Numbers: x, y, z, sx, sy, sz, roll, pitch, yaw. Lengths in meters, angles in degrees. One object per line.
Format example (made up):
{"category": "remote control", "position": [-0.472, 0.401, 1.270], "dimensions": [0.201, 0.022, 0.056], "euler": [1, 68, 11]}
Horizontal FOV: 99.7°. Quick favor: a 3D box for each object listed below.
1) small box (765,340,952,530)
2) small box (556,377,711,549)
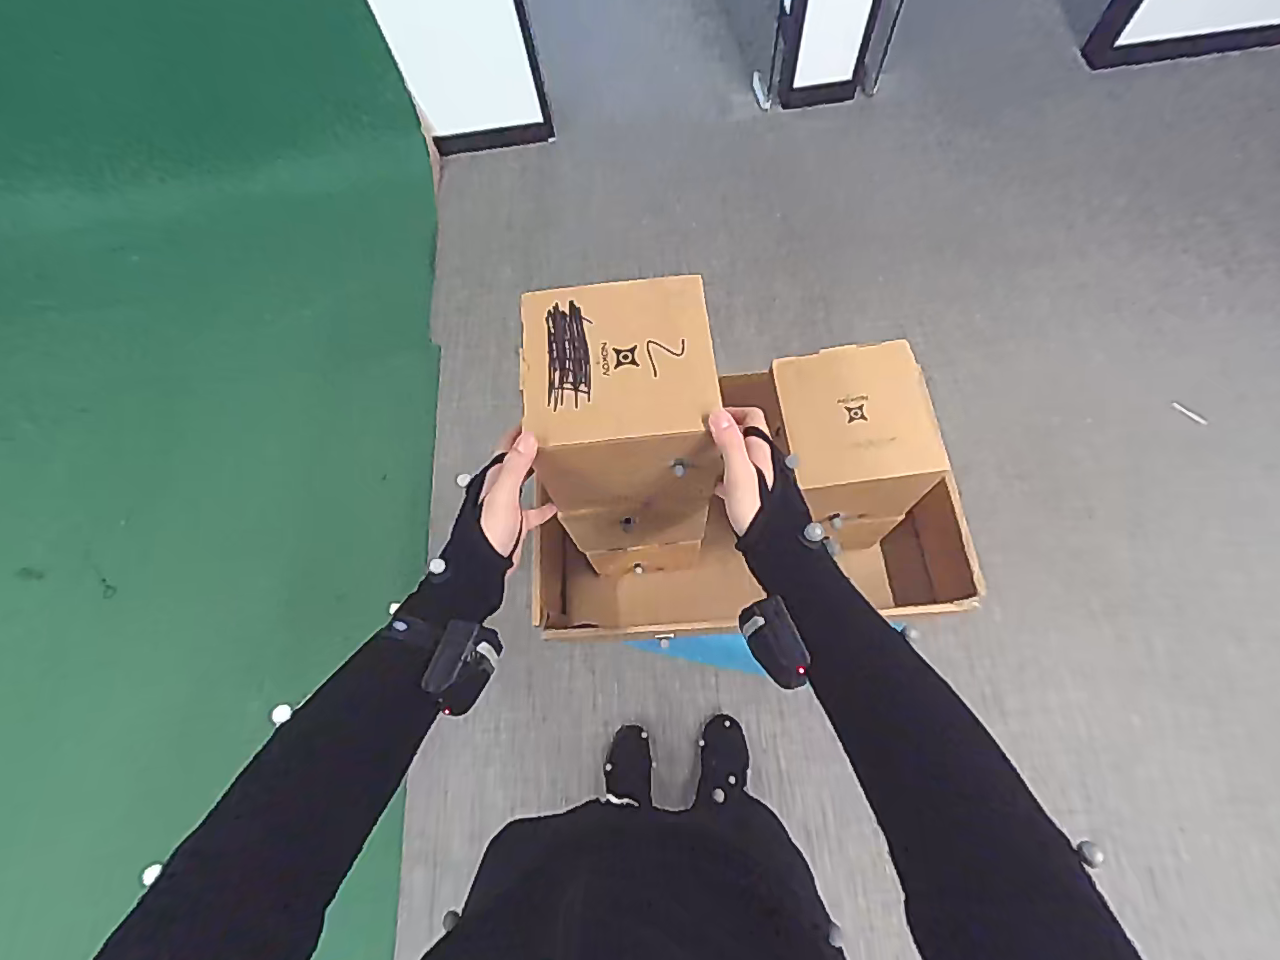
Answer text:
{"category": "small box", "position": [0.260, -0.050, 0.693], "dimensions": [0.168, 0.176, 0.179], "euler": [-7, 67, 6]}
{"category": "small box", "position": [-0.006, -0.012, 0.707], "dimensions": [0.179, 0.176, 0.168], "euler": [-6, 69, 1]}
